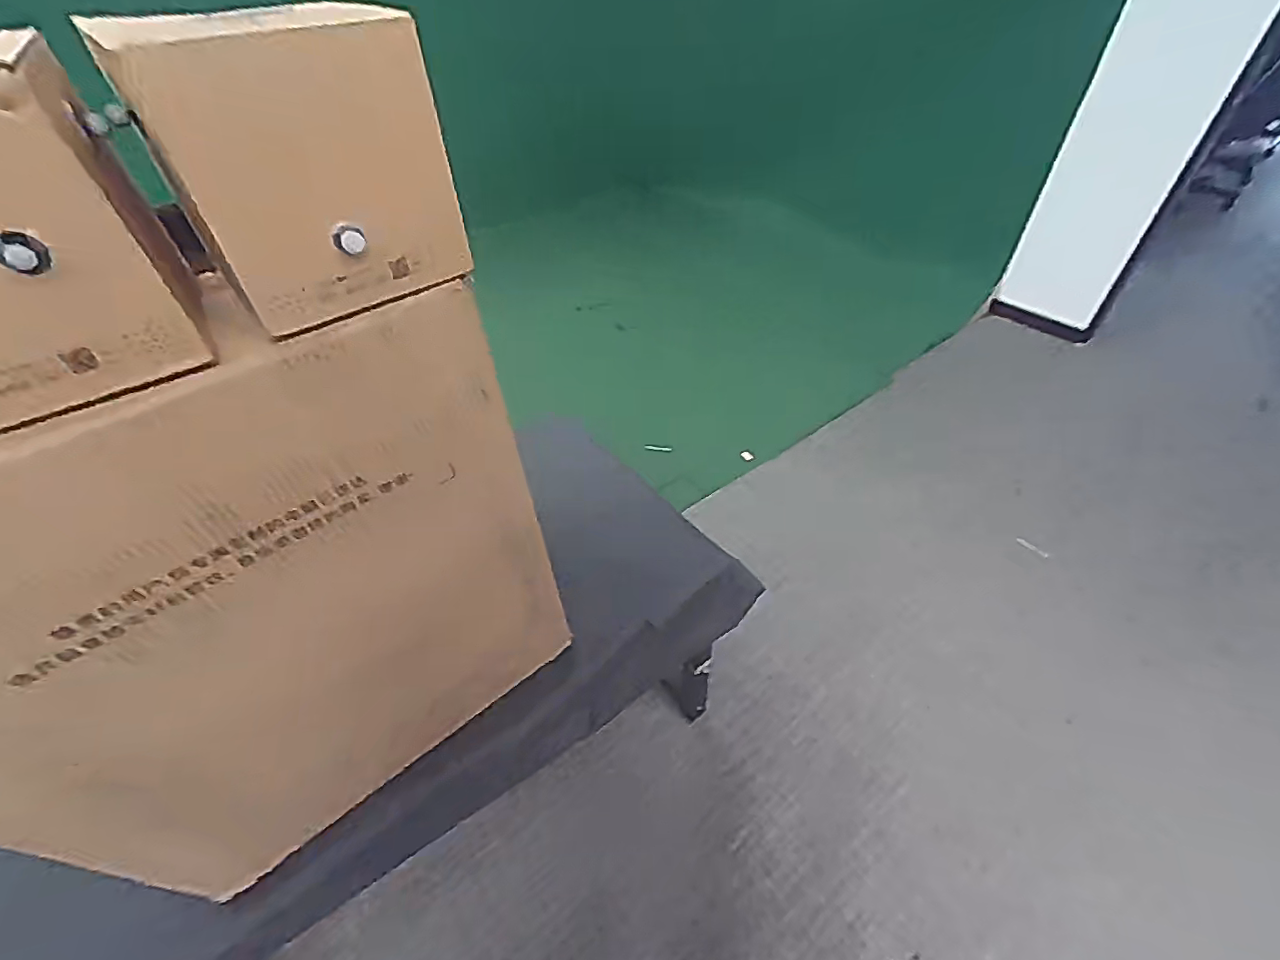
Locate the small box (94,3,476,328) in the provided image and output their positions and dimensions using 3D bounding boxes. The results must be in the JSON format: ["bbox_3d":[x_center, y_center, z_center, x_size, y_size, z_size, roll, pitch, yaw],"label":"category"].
[{"bbox_3d":[-0.251,-0.241,0.411,0.168,0.176,0.179,-32,54,-26],"label":"small box"}]
